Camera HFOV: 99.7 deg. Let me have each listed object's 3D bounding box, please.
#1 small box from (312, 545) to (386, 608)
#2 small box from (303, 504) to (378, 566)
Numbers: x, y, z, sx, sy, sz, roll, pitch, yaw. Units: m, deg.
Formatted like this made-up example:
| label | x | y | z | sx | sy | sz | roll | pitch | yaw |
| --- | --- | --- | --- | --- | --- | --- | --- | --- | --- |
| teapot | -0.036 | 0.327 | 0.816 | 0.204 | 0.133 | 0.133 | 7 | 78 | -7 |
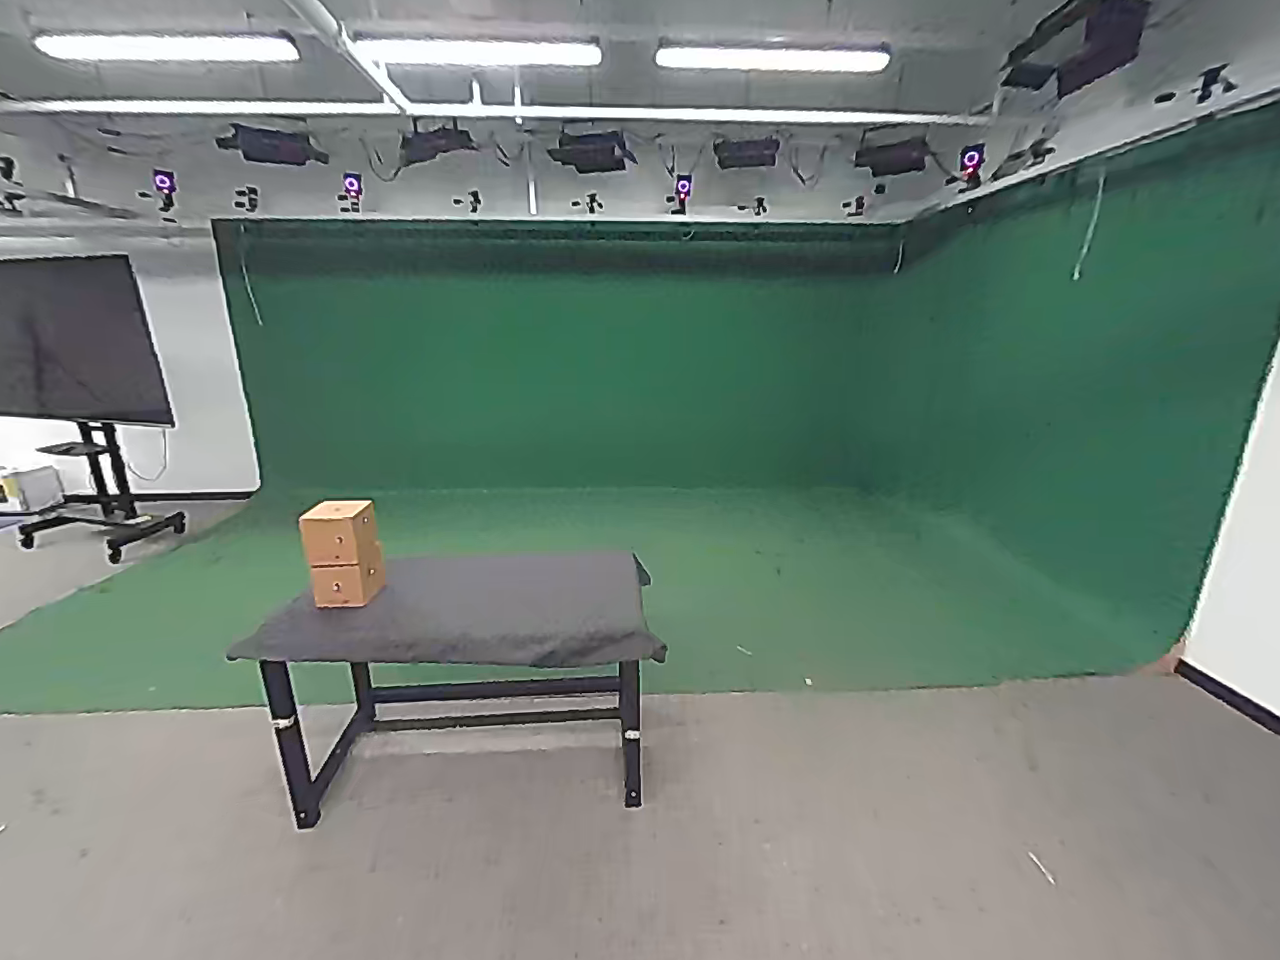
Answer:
| label | x | y | z | sx | sy | sz | roll | pitch | yaw |
| --- | --- | --- | --- | --- | --- | --- | --- | --- | --- |
| small box | -1.018 | 0.341 | 1.908 | 0.168 | 0.176 | 0.179 | 0 | 16 | -2 |
| small box | -1.015 | 0.188 | 1.851 | 0.168 | 0.176 | 0.179 | 0 | 15 | -4 |
